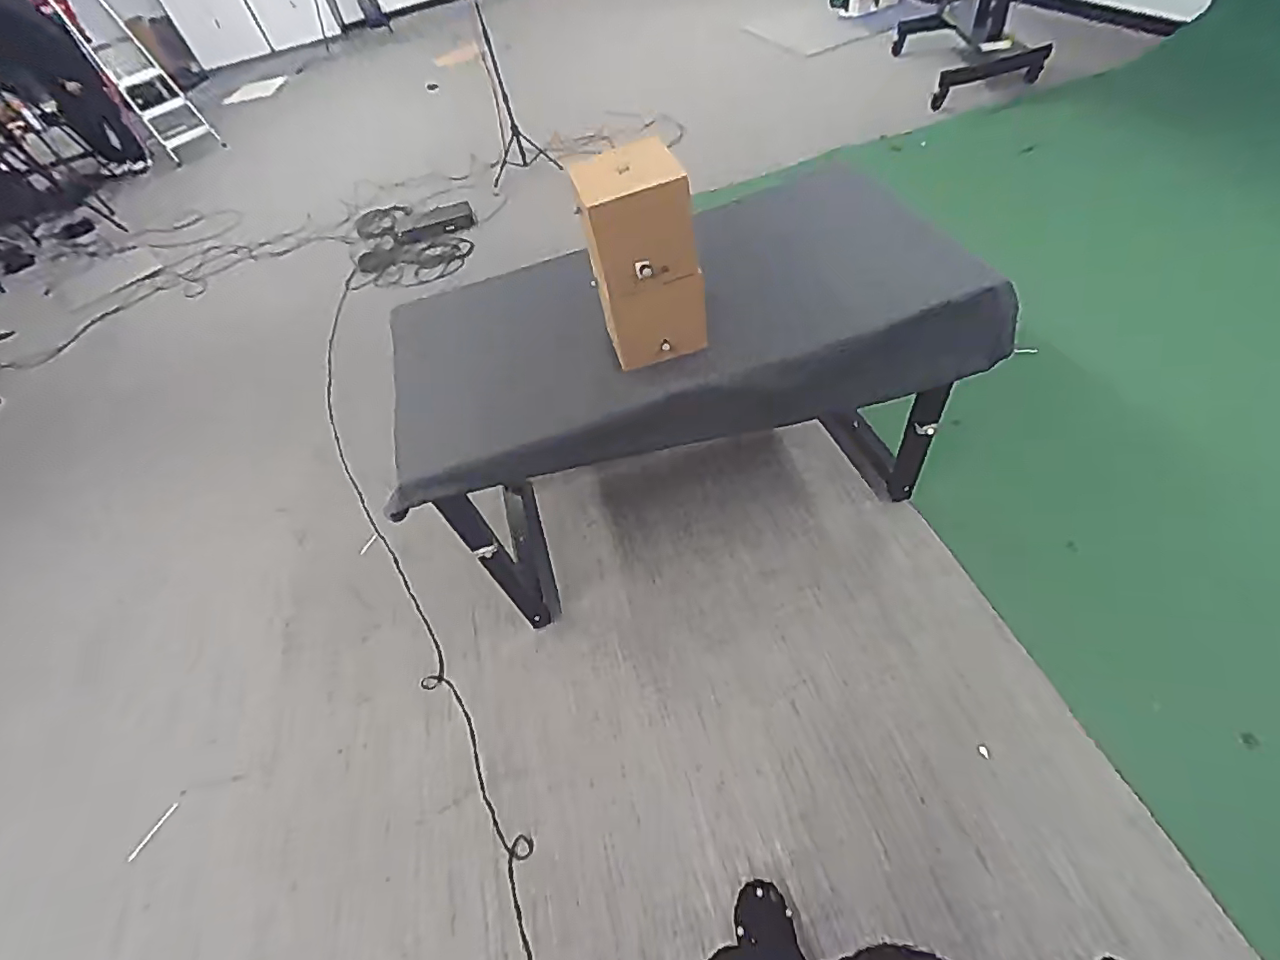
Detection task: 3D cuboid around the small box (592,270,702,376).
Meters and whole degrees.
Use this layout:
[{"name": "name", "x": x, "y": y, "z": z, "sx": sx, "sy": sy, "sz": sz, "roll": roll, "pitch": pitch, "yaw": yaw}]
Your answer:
[{"name": "small box", "x": 0.017, "y": -0.332, "z": 1.056, "sx": 0.179, "sy": 0.176, "sz": 0.168, "roll": -17, "pitch": 50, "yaw": -3}]

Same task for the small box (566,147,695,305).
[{"name": "small box", "x": -0.014, "y": -0.434, "z": 0.932, "sx": 0.168, "sy": 0.176, "sz": 0.179, "roll": -20, "pitch": 51, "yaw": -2}]
